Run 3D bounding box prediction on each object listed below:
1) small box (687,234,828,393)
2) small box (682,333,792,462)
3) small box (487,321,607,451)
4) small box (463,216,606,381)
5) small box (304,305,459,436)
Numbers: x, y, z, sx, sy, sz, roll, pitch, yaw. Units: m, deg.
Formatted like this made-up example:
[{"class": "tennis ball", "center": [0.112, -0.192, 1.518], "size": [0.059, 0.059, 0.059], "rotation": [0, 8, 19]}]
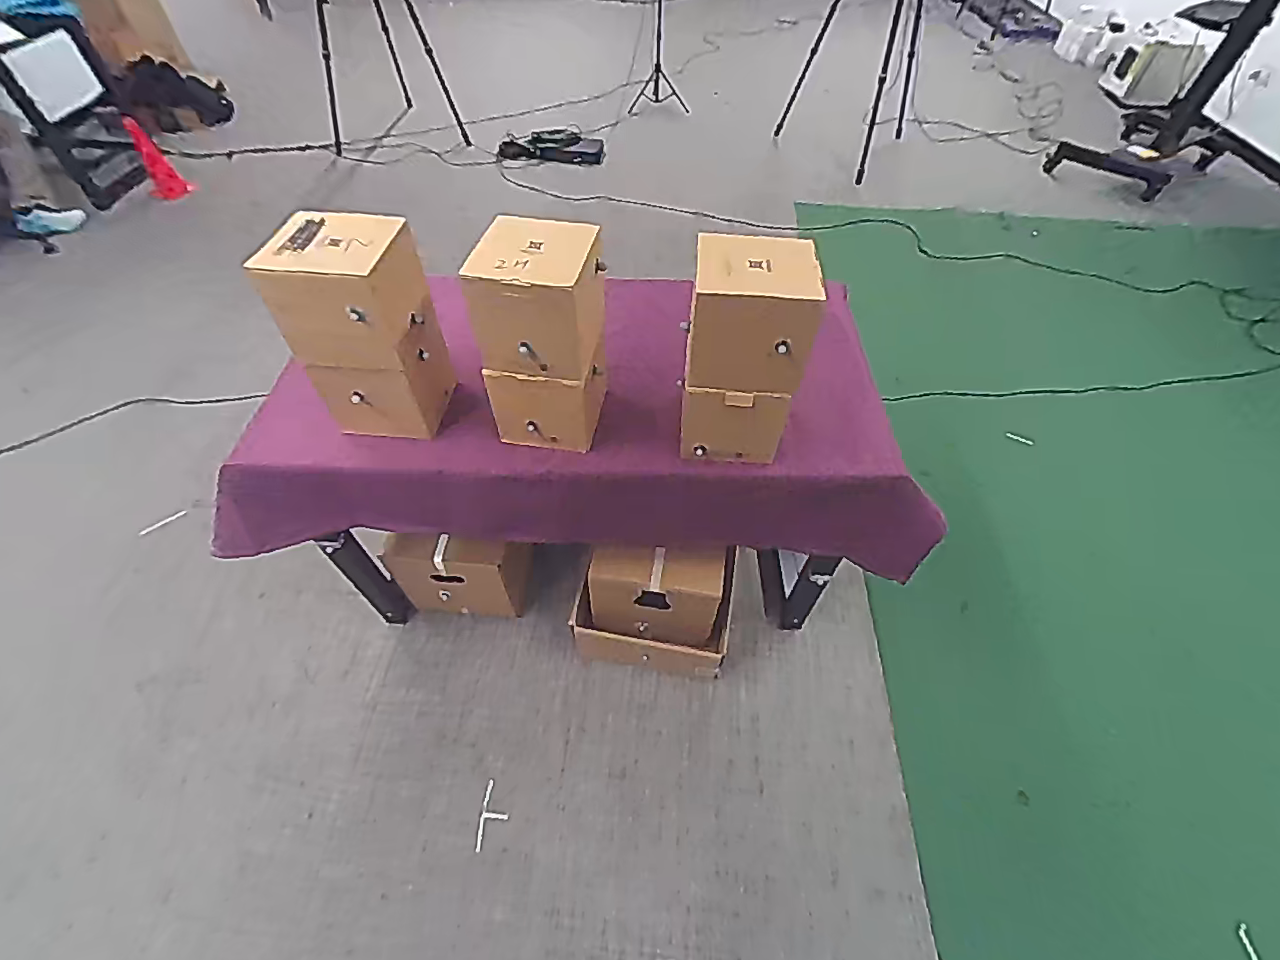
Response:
[{"class": "small box", "center": [0.170, -0.250, 0.828], "size": [0.179, 0.176, 0.168], "rotation": [5, 51, 3]}, {"class": "small box", "center": [0.163, -0.149, 0.955], "size": [0.168, 0.176, 0.179], "rotation": [4, 51, 2]}, {"class": "small box", "center": [-0.156, -0.178, 0.975], "size": [0.168, 0.176, 0.179], "rotation": [8, 53, 5]}, {"class": "small box", "center": [-0.151, -0.284, 0.849], "size": [0.168, 0.176, 0.179], "rotation": [9, 53, 6]}, {"class": "small box", "center": [-0.453, -0.196, 0.981], "size": [0.179, 0.176, 0.168], "rotation": [4, 53, 3]}]
